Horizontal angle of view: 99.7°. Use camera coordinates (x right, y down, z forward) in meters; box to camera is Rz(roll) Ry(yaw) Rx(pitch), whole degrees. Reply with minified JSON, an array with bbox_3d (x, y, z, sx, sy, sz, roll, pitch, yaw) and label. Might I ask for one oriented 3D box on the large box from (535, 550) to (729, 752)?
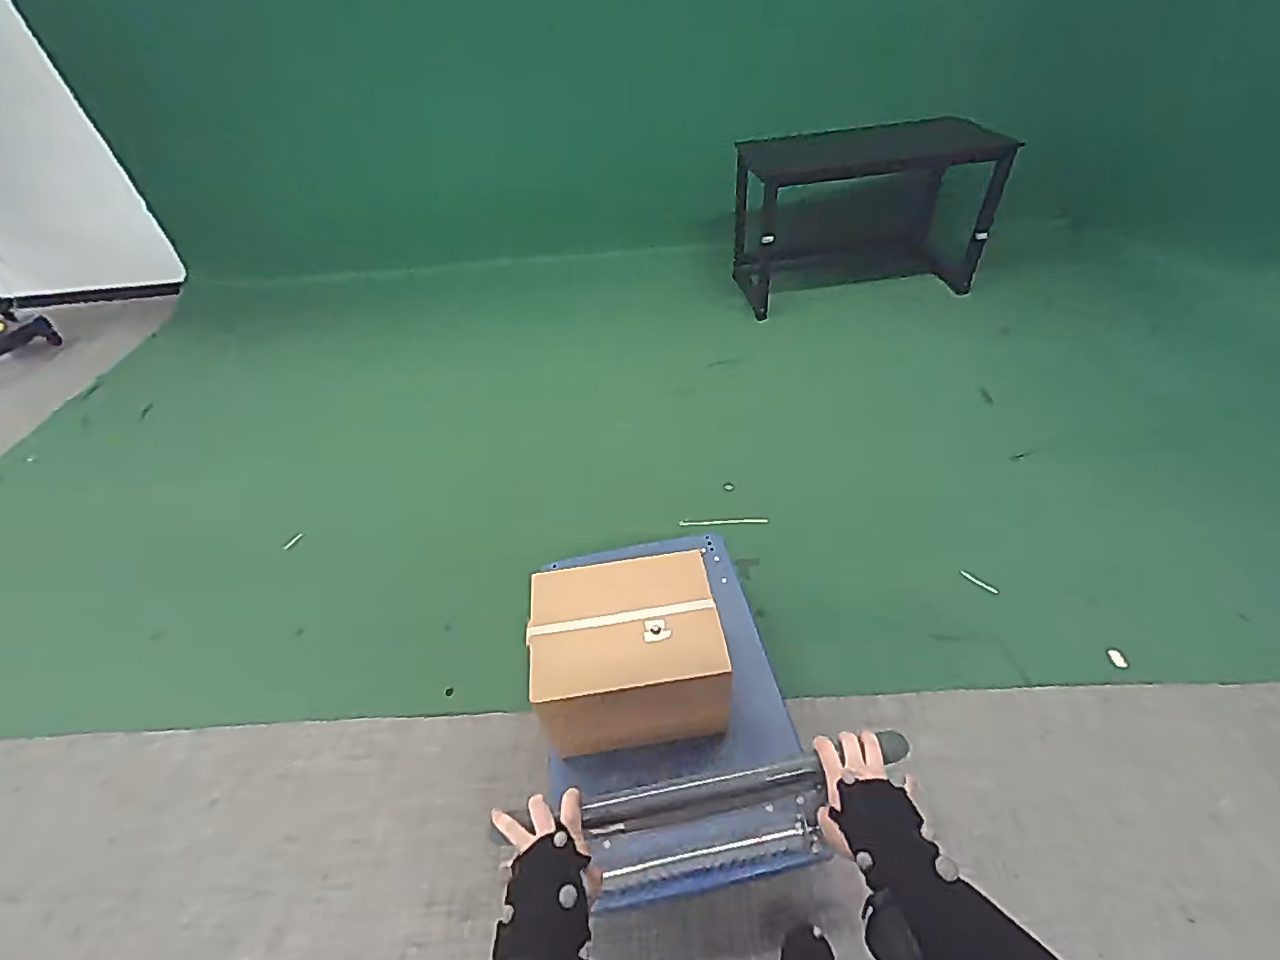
[{"bbox_3d":[-0.025,0.409,1.293,0.408,0.320,0.320,-8,45,-3],"label":"large box"}]
